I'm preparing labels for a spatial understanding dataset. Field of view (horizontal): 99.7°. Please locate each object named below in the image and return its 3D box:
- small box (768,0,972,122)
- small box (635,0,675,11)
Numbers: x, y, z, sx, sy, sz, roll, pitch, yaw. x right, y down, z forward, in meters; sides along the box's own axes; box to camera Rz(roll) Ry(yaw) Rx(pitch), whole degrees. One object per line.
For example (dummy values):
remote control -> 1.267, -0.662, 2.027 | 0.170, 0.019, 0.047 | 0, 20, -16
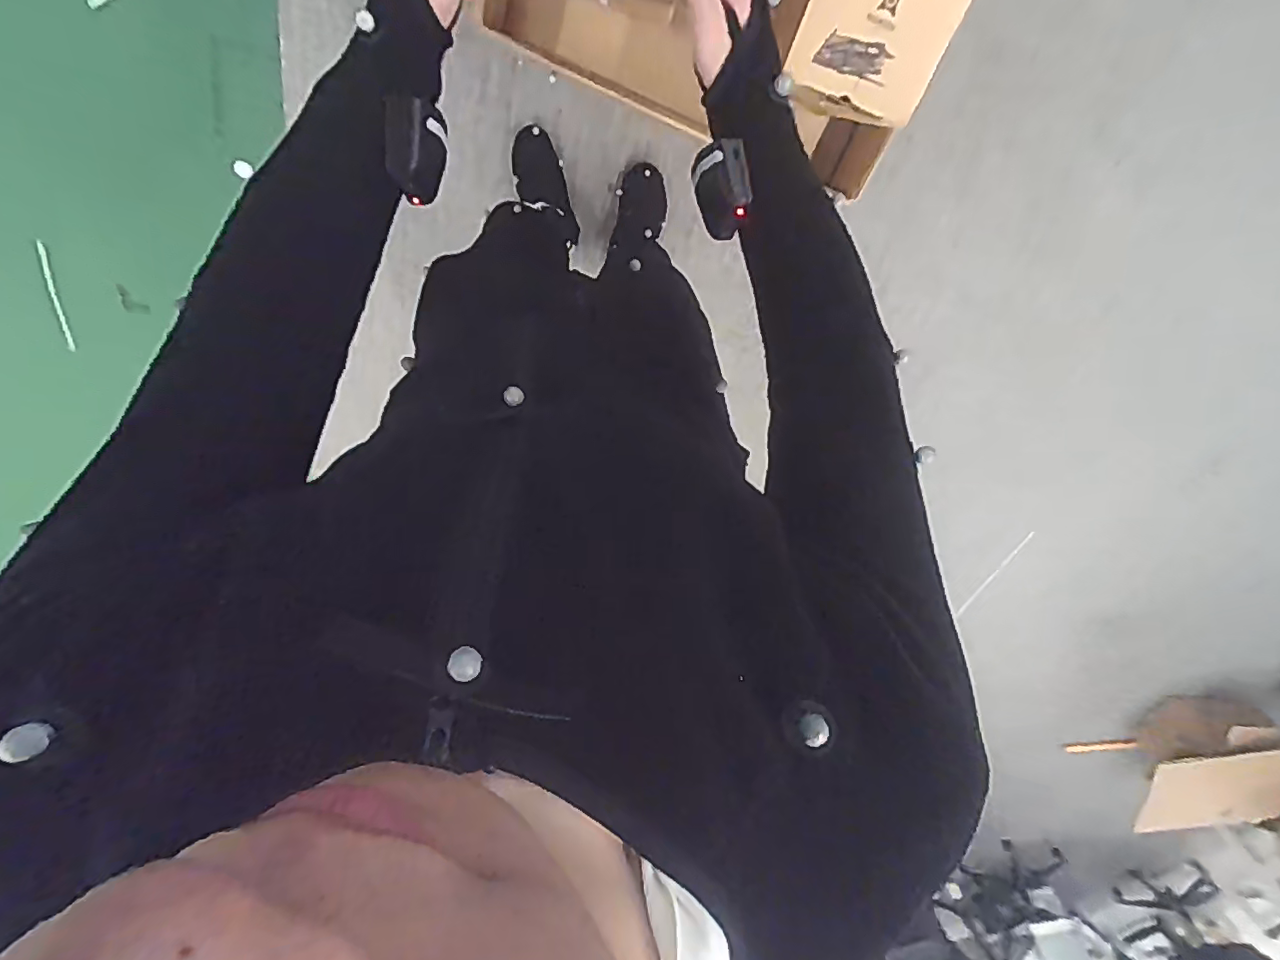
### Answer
small box -> 0.264, -0.552, 0.633 | 0.168, 0.176, 0.179 | 15, 125, -11
small box -> -0.009, -0.643, 0.570 | 0.168, 0.176, 0.179 | 16, 124, -10
